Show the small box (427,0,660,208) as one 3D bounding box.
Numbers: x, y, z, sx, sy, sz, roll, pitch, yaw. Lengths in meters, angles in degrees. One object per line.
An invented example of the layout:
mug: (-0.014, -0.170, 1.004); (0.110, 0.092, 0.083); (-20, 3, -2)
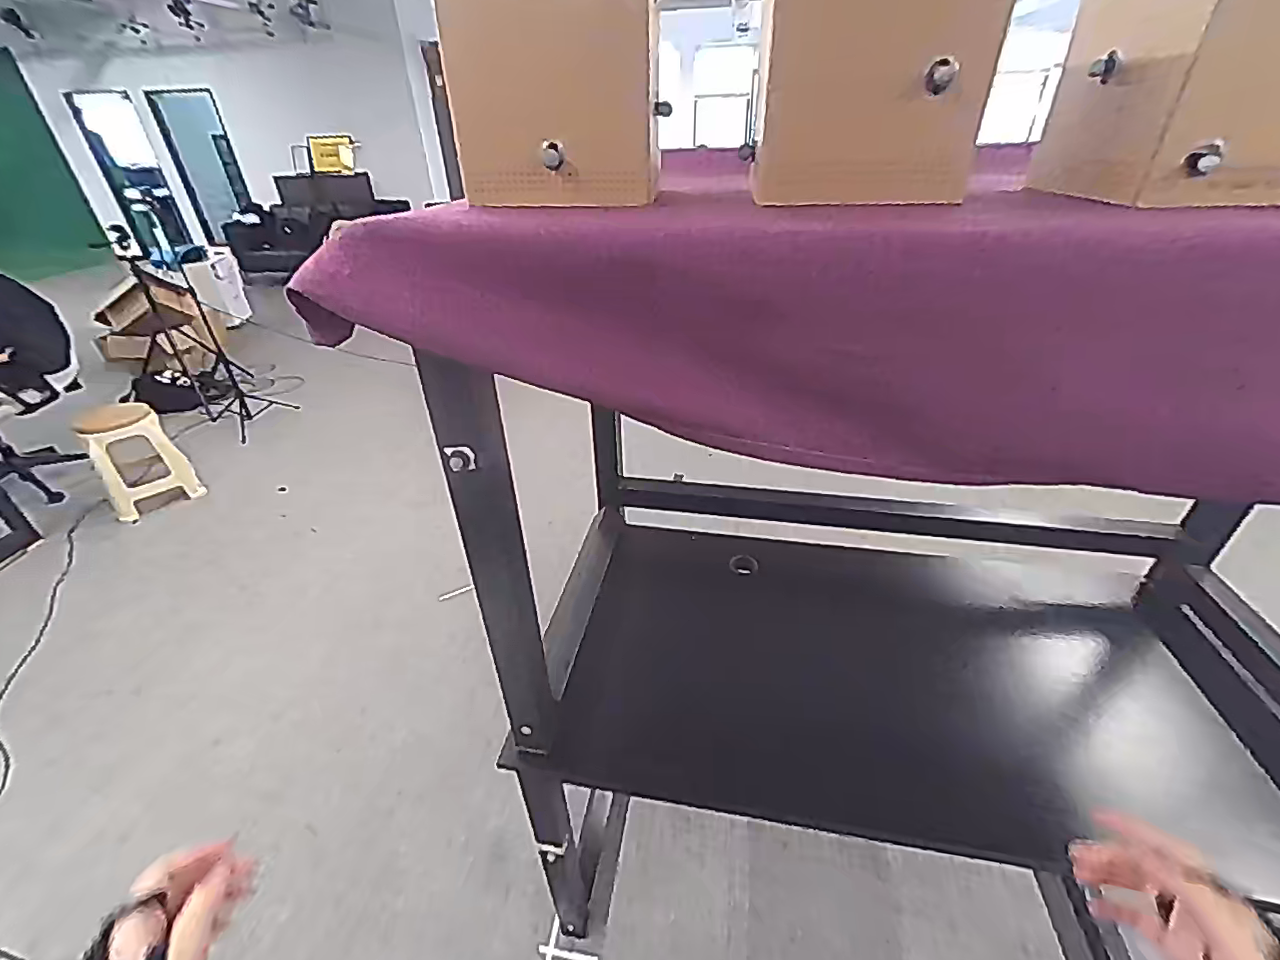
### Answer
small box: (-0.074, -0.364, 0.516); (0.179, 0.176, 0.168); (2, 33, 4)

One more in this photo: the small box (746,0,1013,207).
small box: (0.193, -0.350, 0.486); (0.179, 0.176, 0.168); (2, 33, 7)

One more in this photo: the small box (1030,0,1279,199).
small box: (0.457, -0.320, 0.424); (0.168, 0.176, 0.179); (2, 32, 5)
